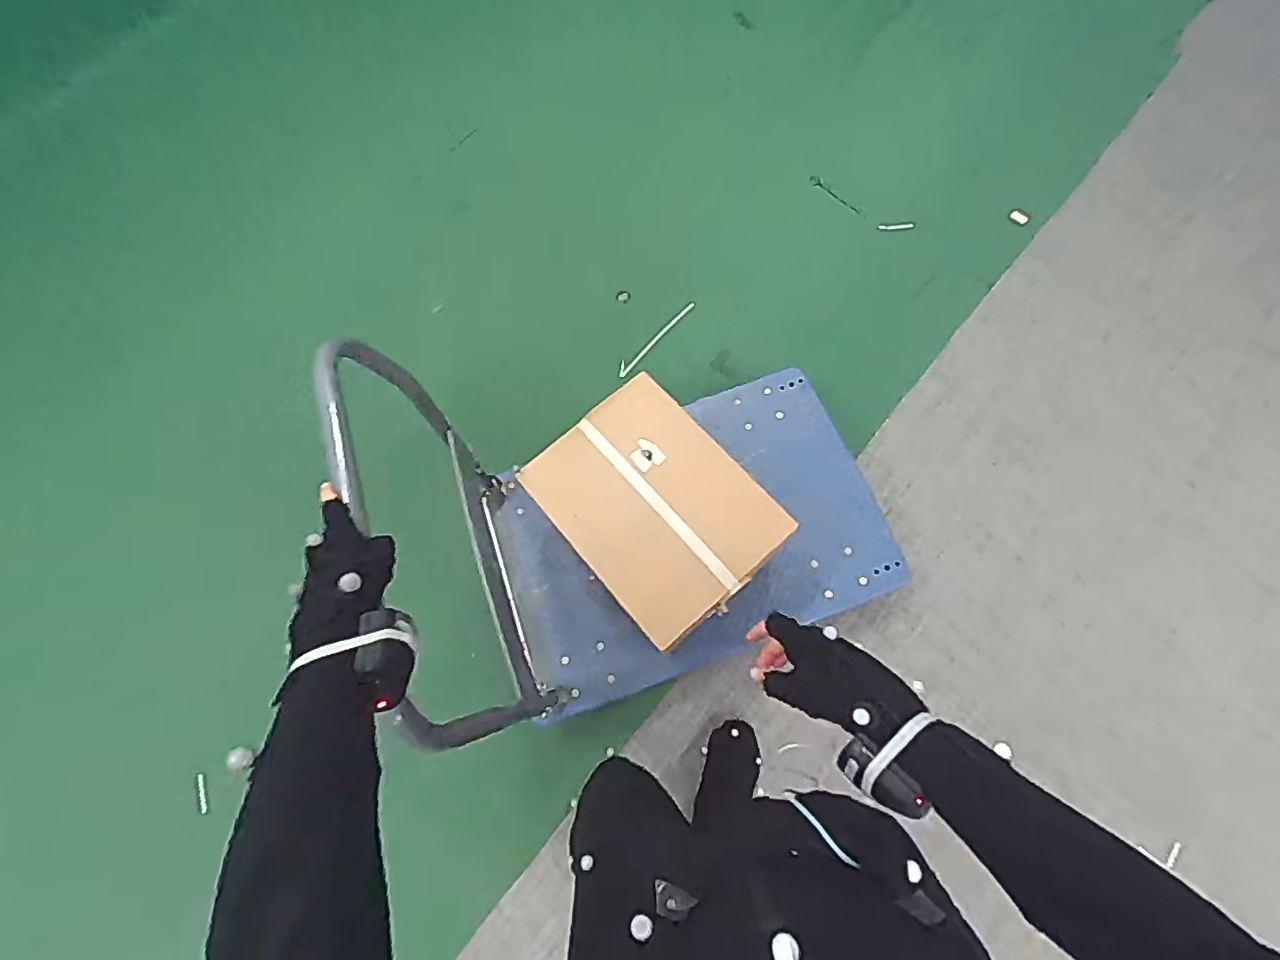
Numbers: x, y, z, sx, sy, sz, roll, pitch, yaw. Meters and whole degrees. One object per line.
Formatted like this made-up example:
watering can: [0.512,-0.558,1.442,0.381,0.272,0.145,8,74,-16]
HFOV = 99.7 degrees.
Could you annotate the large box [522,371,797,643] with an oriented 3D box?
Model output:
large box: [0.041,0.072,1.086,0.320,0.320,0.408,-39,73,-9]
